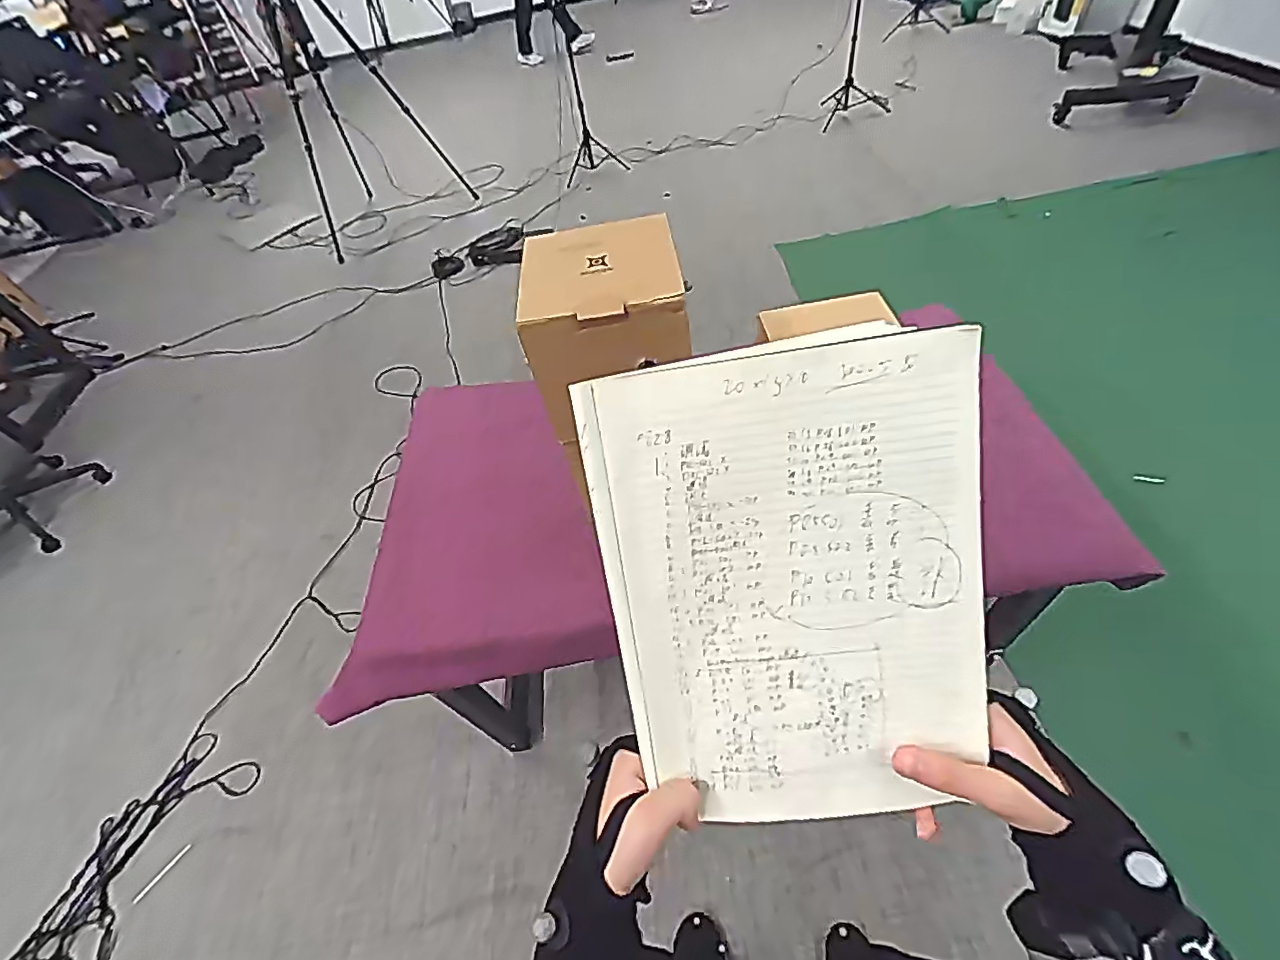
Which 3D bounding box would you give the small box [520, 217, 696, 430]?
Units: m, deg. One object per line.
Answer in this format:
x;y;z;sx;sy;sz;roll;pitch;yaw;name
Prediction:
-0.029;-0.172;0.628;0.168;0.176;0.179;-8;50;3;small box

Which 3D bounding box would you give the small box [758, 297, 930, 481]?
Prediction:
0.262;-0.123;0.746;0.168;0.176;0.179;-9;49;4;small box

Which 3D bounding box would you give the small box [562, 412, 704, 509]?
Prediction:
-0.006;-0.074;0.756;0.168;0.176;0.179;-9;49;4;small box

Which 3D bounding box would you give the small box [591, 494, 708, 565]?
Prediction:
0.017;0.025;0.886;0.168;0.176;0.179;-9;51;3;small box
